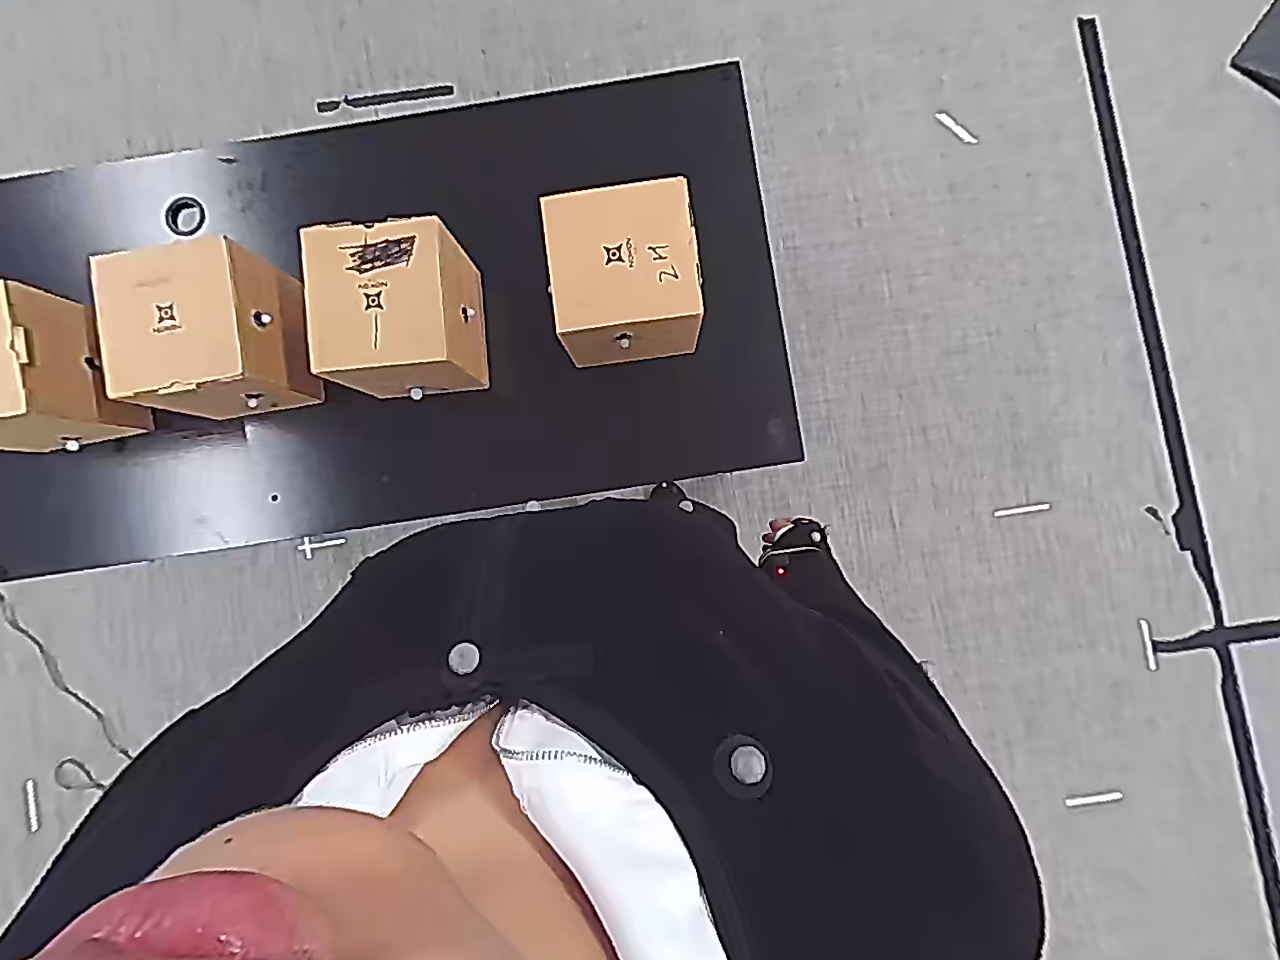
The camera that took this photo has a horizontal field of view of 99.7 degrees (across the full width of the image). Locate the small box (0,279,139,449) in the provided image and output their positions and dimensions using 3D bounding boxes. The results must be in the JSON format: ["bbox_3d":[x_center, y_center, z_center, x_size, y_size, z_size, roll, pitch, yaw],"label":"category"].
[{"bbox_3d":[-0.816,-0.141,0.714,0.179,0.176,0.168,-11,87,-1],"label":"small box"}]

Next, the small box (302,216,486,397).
[{"bbox_3d":[-0.311,-0.217,0.713,0.168,0.176,0.179,-5,88,0],"label":"small box"}]

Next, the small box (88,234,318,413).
[{"bbox_3d":[-0.559,-0.191,0.716,0.168,0.176,0.179,-10,87,-1],"label":"small box"}]

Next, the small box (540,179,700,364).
[{"bbox_3d":[-0.022,-0.259,0.712,0.179,0.176,0.168,-7,88,1],"label":"small box"}]
